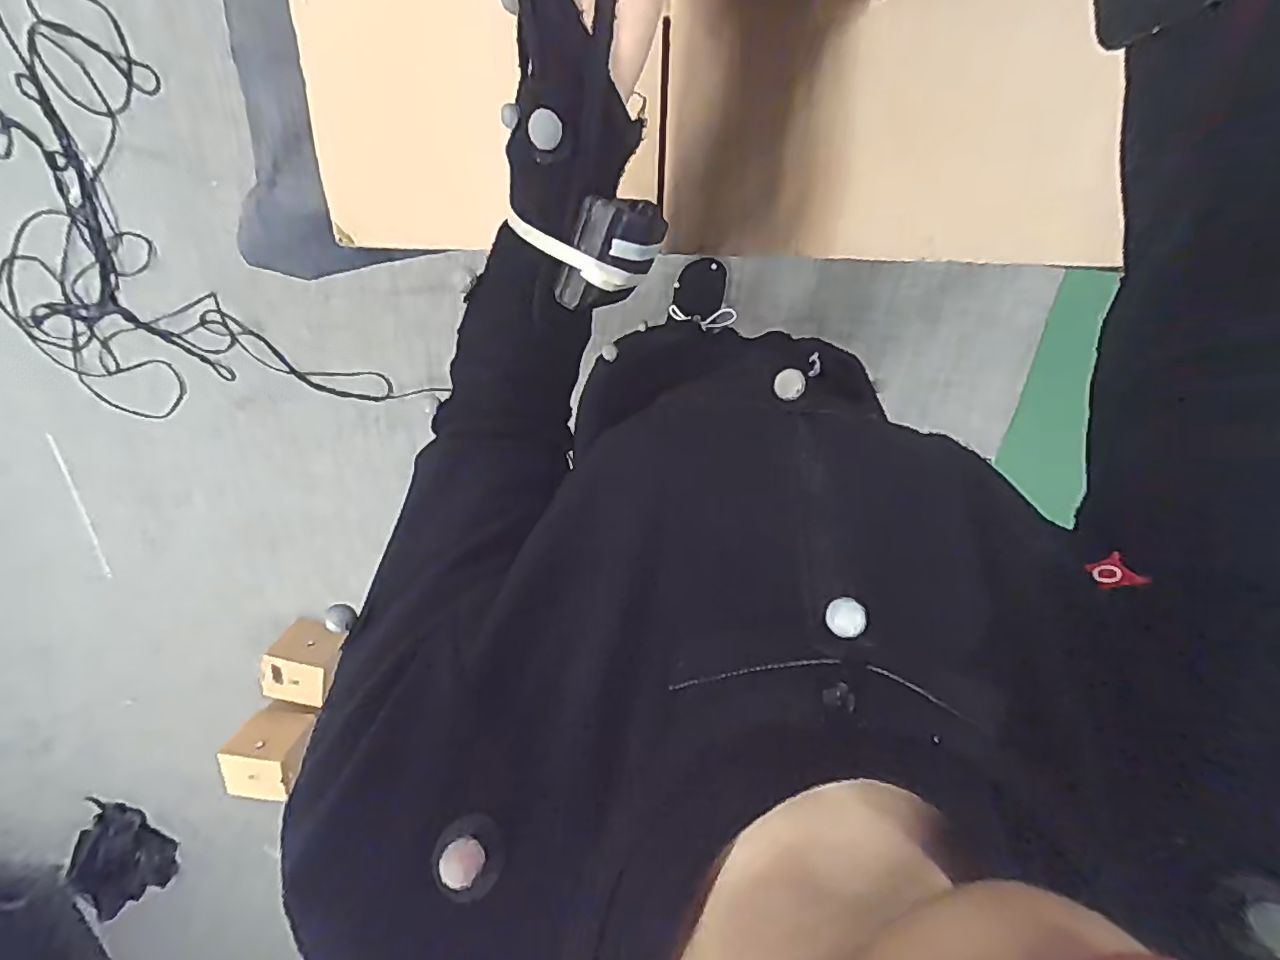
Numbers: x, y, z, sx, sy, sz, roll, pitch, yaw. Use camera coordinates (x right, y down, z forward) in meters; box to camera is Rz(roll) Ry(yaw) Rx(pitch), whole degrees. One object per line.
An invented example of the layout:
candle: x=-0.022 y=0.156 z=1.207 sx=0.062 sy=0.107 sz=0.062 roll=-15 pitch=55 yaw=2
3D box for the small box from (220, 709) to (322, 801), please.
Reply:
small box: x=-1.075 y=0.801 z=1.589 sx=0.179 sy=0.176 sz=0.168 roll=7 pitch=113 yaw=0

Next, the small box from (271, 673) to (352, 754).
small box: x=-1.054 y=0.749 z=1.743 sx=0.179 sy=0.176 sz=0.168 roll=7 pitch=114 yaw=-1
